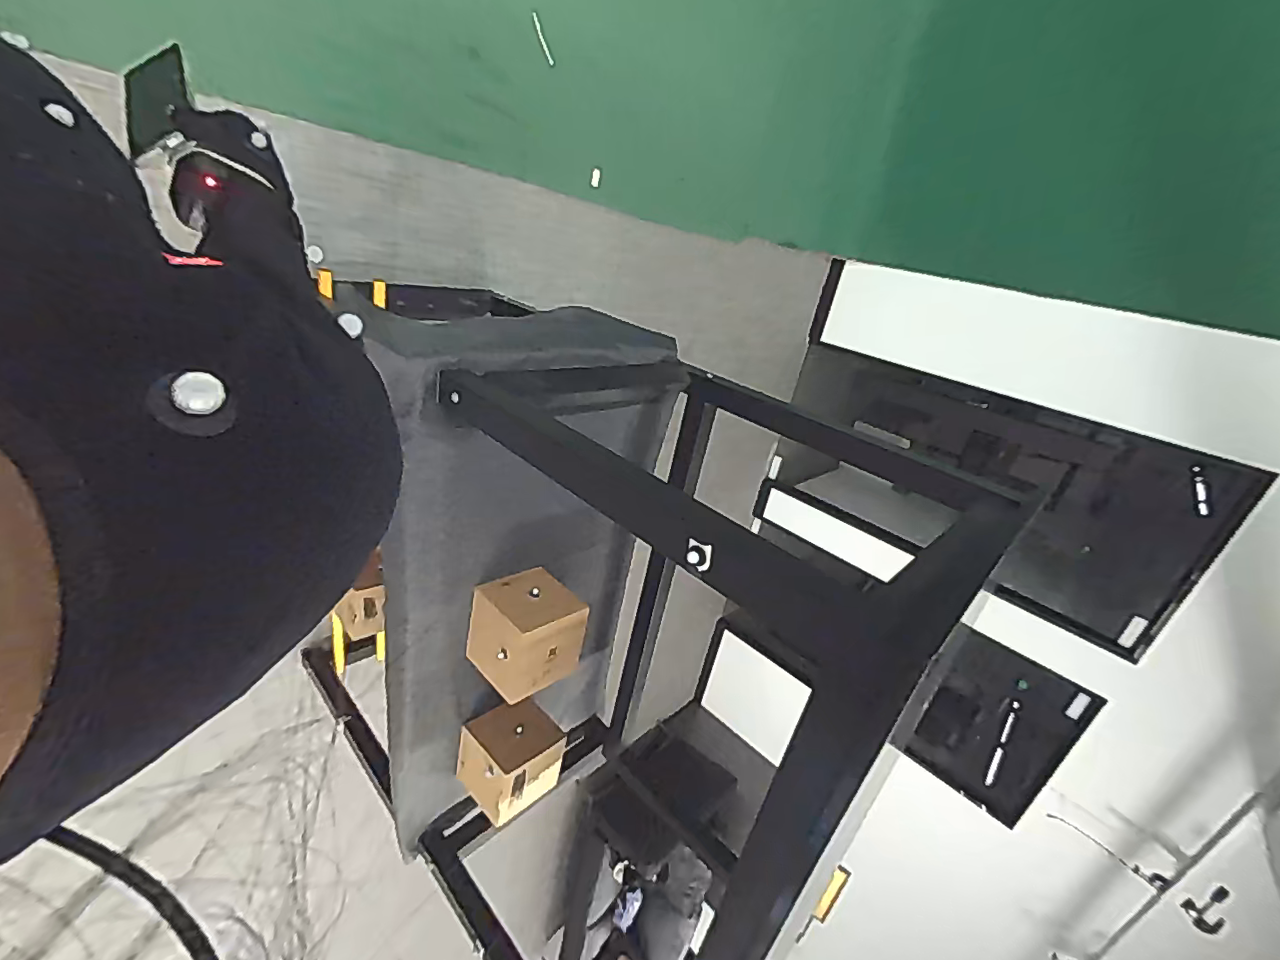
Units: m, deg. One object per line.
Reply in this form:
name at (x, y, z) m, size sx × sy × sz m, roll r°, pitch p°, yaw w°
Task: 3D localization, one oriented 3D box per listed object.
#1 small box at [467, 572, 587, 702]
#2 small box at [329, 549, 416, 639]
small box at (-0.236, 0.308, 1.110) m, size 0.168 × 0.176 × 0.179 m, roll -11°, pitch 122°, yaw -47°
small box at (-0.768, 0.318, 1.545) m, size 0.179 × 0.176 × 0.168 m, roll -11°, pitch 122°, yaw -48°
